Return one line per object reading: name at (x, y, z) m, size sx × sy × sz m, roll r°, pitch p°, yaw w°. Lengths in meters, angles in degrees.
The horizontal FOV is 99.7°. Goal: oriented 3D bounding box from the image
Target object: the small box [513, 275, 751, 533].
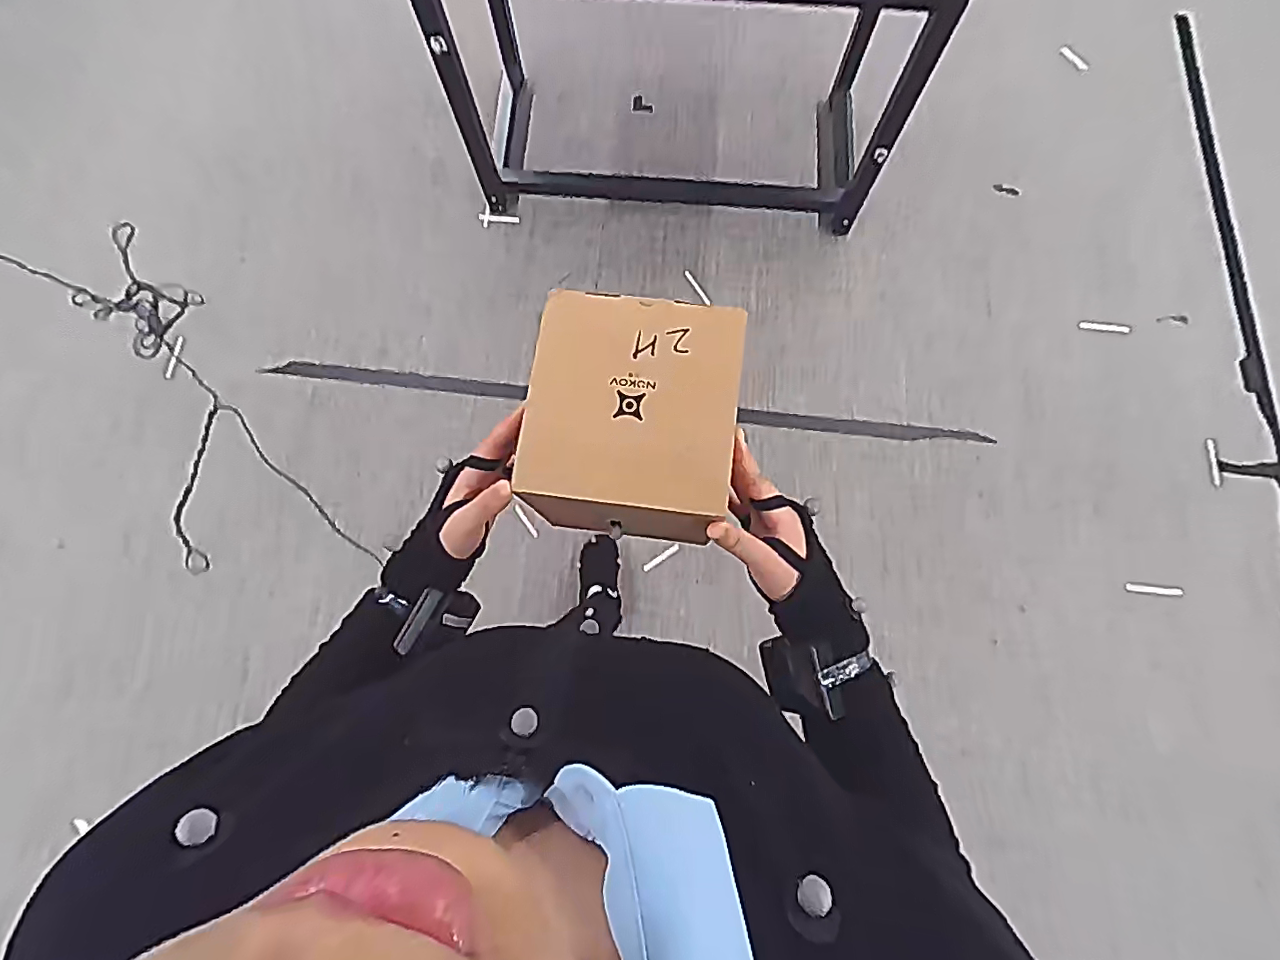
small box at (-0.001, -0.054, 0.492) m, size 0.168 × 0.176 × 0.179 m, roll 7°, pitch 75°, yaw 3°
